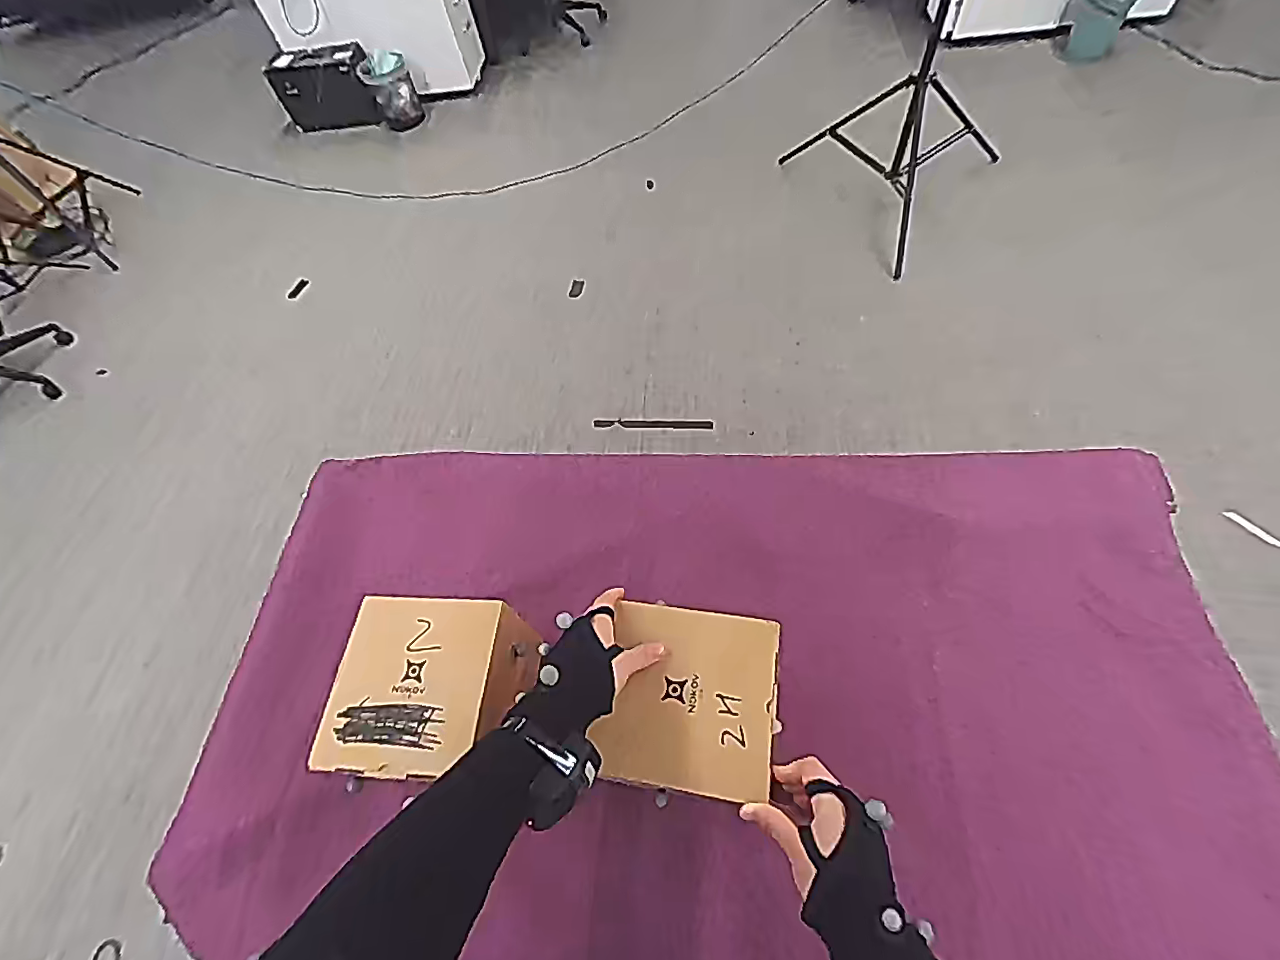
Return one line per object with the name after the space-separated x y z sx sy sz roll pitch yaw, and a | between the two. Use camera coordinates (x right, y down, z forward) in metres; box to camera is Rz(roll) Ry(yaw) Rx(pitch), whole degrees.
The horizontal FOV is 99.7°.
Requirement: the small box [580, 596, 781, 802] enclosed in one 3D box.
0.052 0.241 0.588 0.179 0.176 0.168 6 60 11 | small box
